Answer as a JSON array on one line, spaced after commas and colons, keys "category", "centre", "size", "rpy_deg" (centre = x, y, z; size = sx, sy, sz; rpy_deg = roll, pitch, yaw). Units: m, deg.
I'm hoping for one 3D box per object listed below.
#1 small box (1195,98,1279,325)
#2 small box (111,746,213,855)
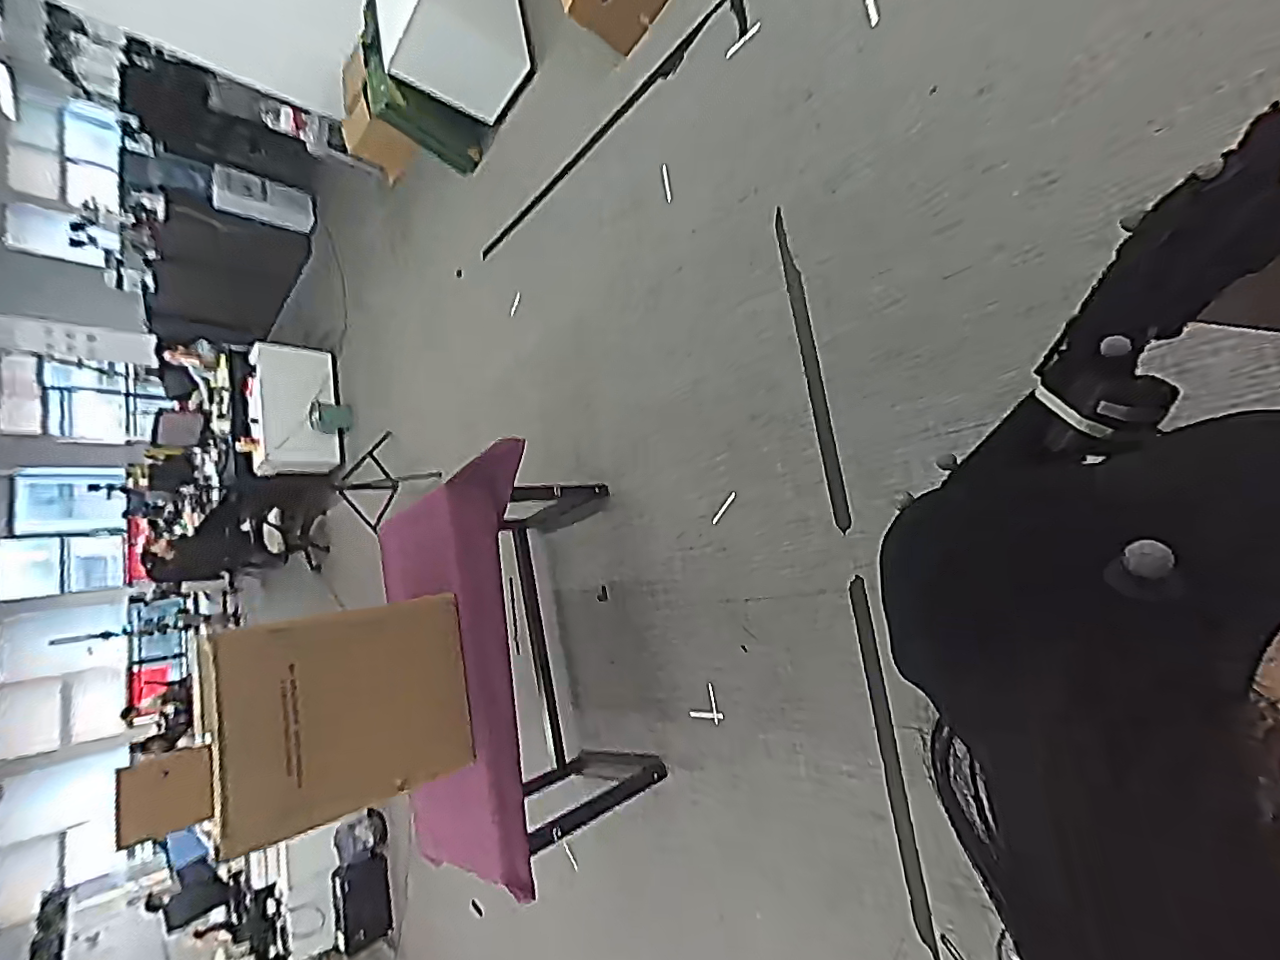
[{"category": "small box", "centre": [0.513, -0.214, 0.348], "size": [0.168, 0.176, 0.179], "rpy_deg": [24, 87, 37]}, {"category": "small box", "centre": [-1.129, 0.743, 1.277], "size": [0.168, 0.176, 0.179], "rpy_deg": [-28, 71, 42]}]
